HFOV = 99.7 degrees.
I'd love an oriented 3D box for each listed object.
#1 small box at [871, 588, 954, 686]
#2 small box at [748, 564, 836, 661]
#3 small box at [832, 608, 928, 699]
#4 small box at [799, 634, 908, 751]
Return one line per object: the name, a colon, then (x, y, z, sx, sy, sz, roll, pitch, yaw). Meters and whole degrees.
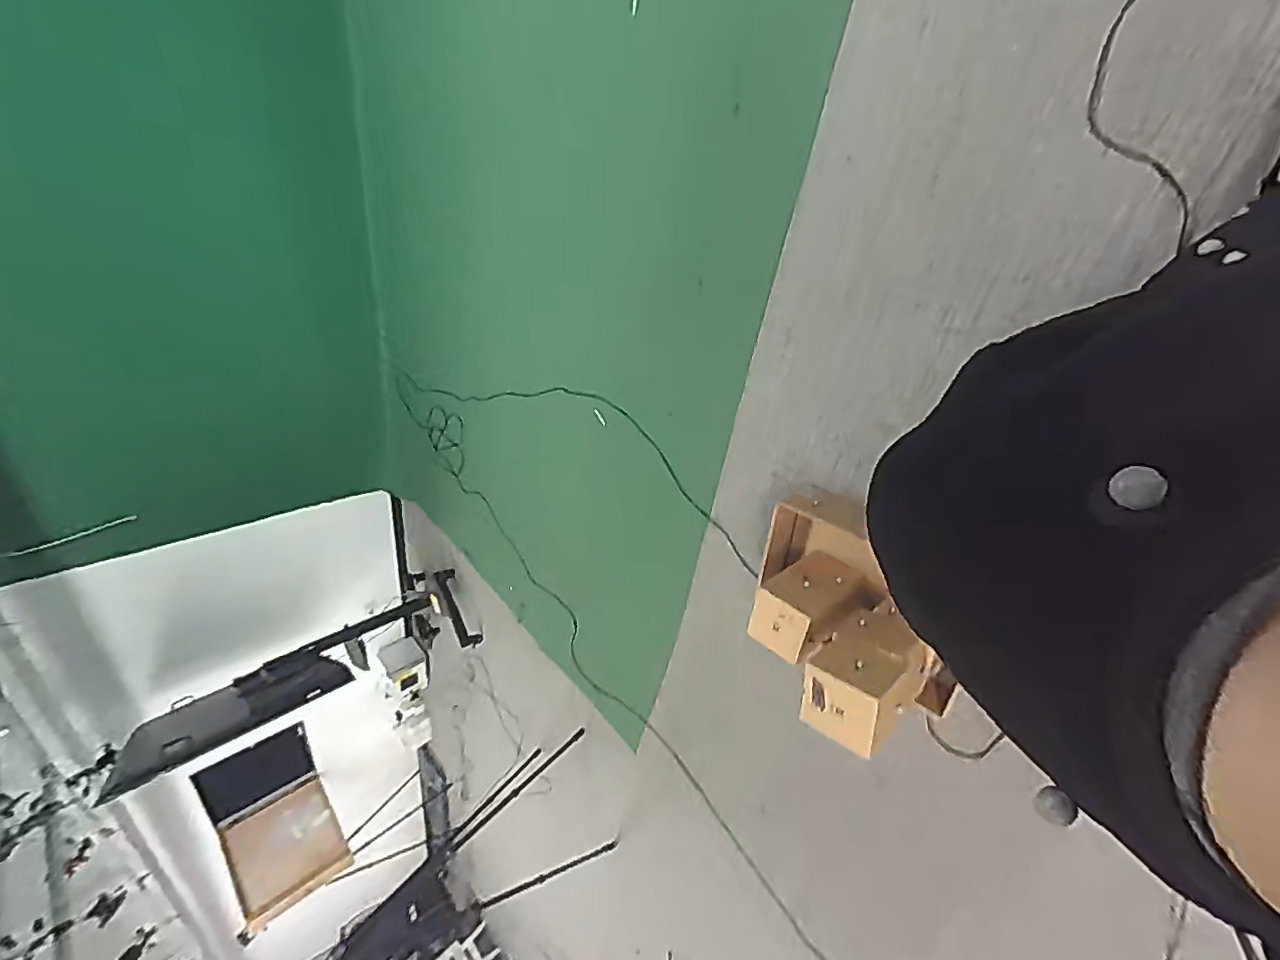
small box: (0.738, 0.427, 1.503, 0.179, 0.176, 0.168, 30, 124, 39)
small box: (0.440, 0.375, 1.558, 0.168, 0.176, 0.179, 30, 125, 36)
small box: (0.616, 0.449, 1.396, 0.179, 0.176, 0.168, 10, 111, 46)
small box: (0.504, 0.489, 1.282, 0.179, 0.176, 0.168, 19, 118, 43)
